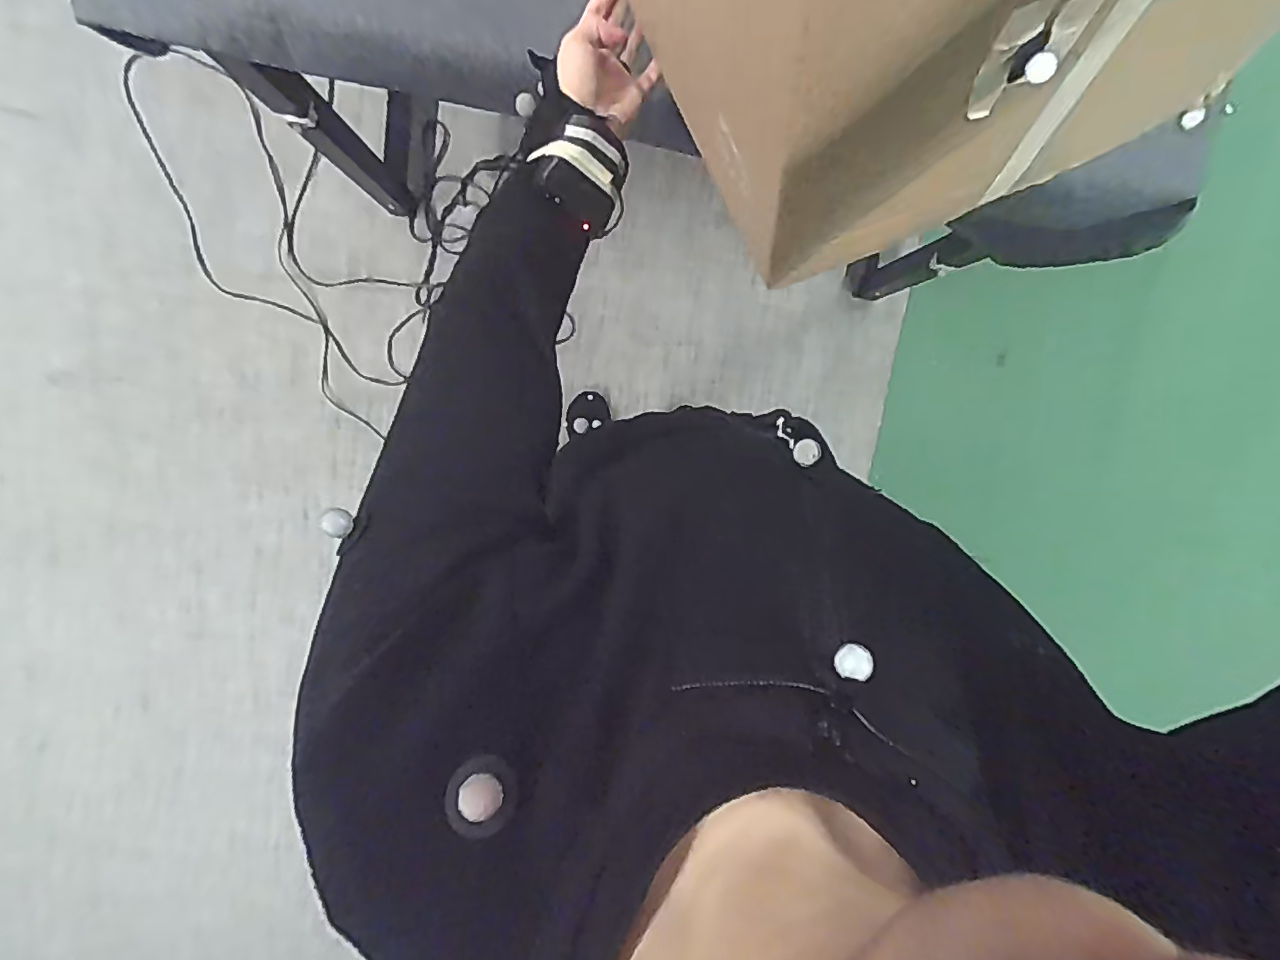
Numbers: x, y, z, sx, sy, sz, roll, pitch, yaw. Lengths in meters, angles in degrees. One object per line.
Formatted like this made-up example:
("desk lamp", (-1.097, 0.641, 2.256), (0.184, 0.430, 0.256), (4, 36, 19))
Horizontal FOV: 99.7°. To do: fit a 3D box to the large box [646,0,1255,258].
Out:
("large box", (0.146, -0.379, 0.209), (0.320, 0.408, 0.320), (-23, 80, 6))
